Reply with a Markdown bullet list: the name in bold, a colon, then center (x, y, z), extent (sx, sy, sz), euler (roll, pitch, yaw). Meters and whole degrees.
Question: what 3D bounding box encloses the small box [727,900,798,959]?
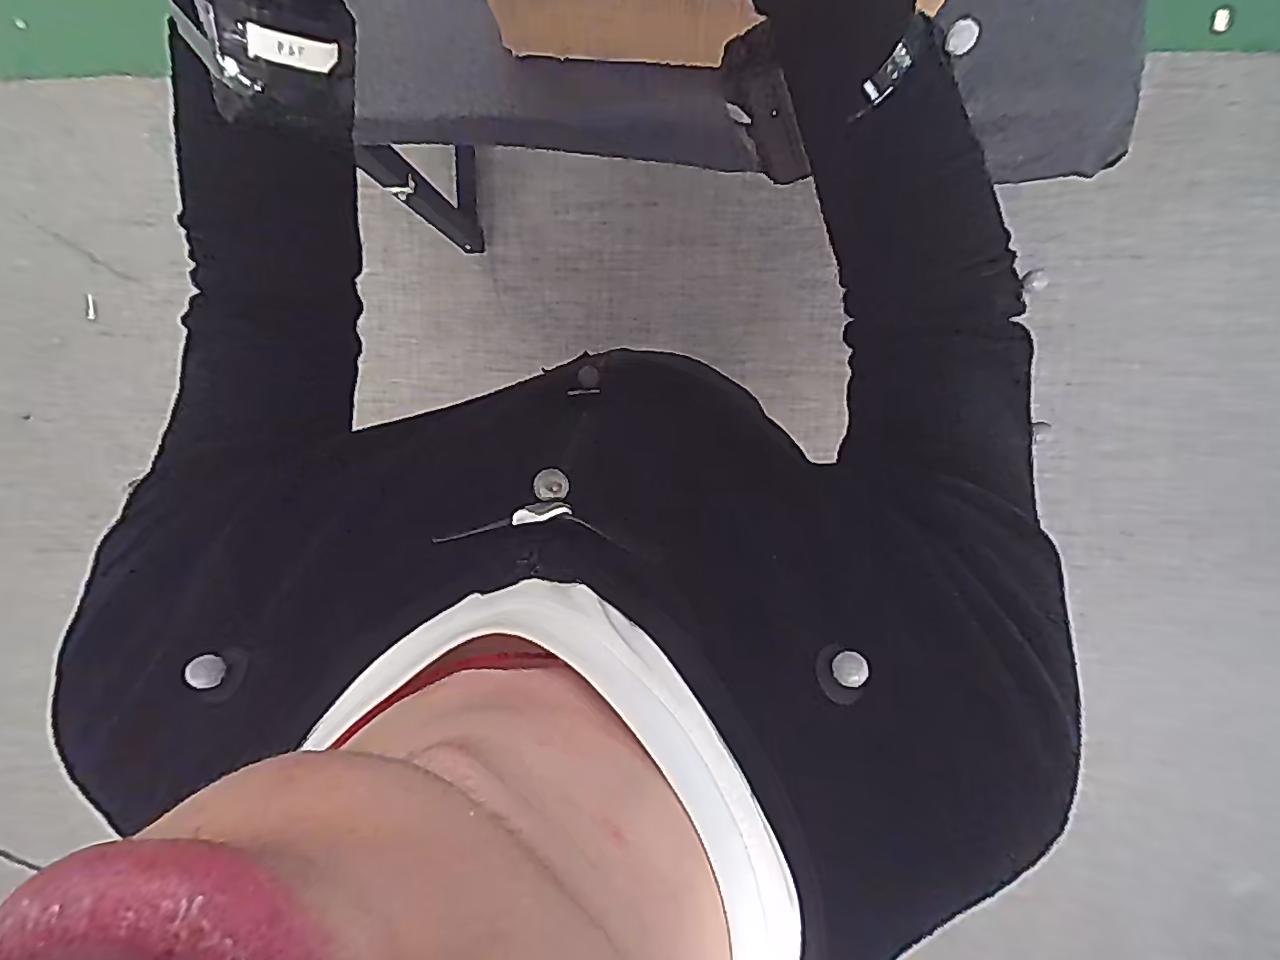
- **small box**: center (0.381, 1.434, 1.646), extent (0.179, 0.176, 0.168), euler (-22, 98, 3)
